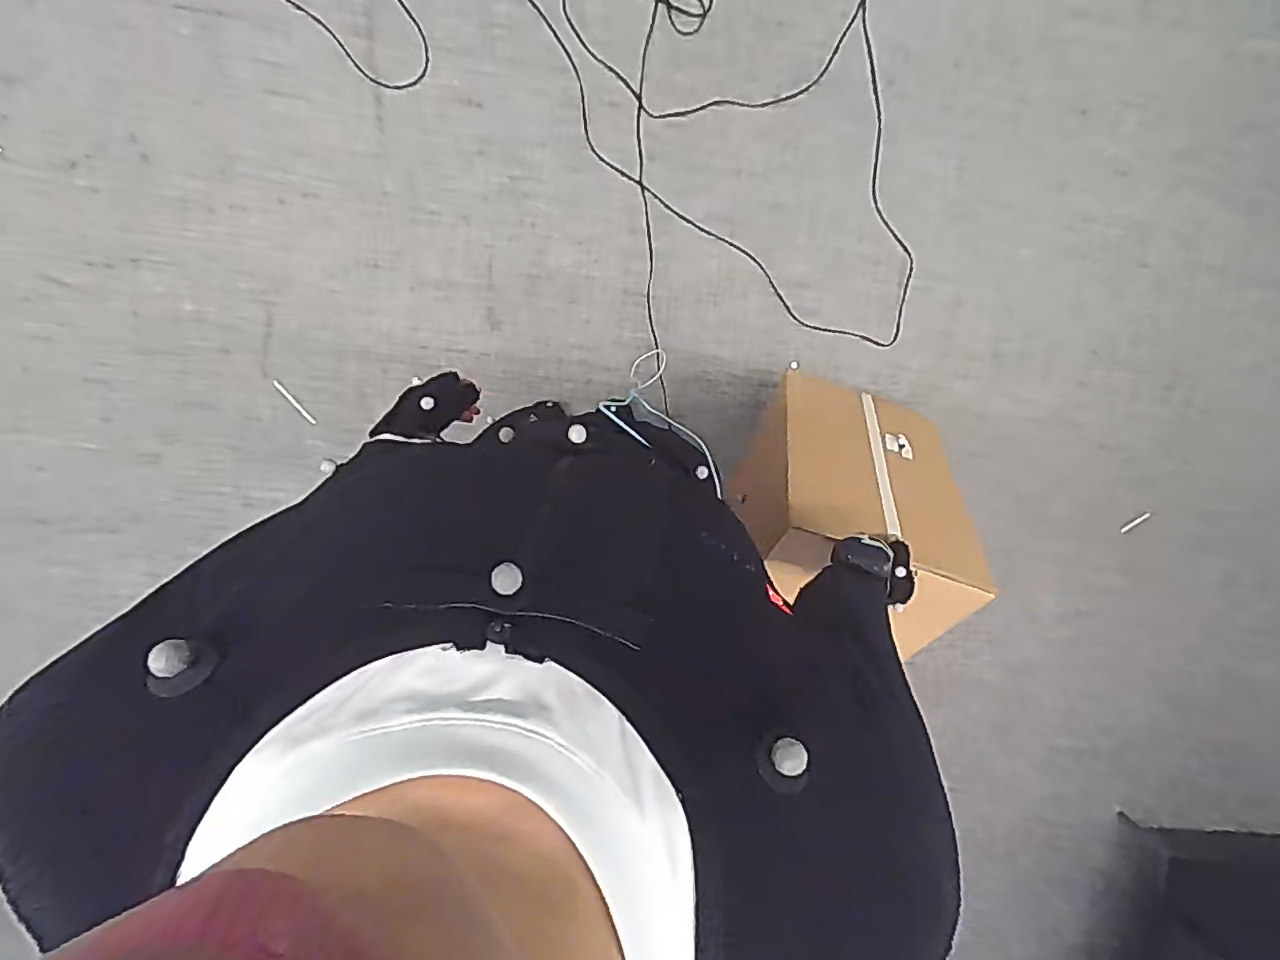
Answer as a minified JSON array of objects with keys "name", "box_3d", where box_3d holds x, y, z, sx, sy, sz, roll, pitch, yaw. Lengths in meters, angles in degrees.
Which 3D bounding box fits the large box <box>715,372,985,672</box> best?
[{"name":"large box","box_3d":[0.342,0.075,1.000,0.320,0.408,0.320,19,135,-4]}]
